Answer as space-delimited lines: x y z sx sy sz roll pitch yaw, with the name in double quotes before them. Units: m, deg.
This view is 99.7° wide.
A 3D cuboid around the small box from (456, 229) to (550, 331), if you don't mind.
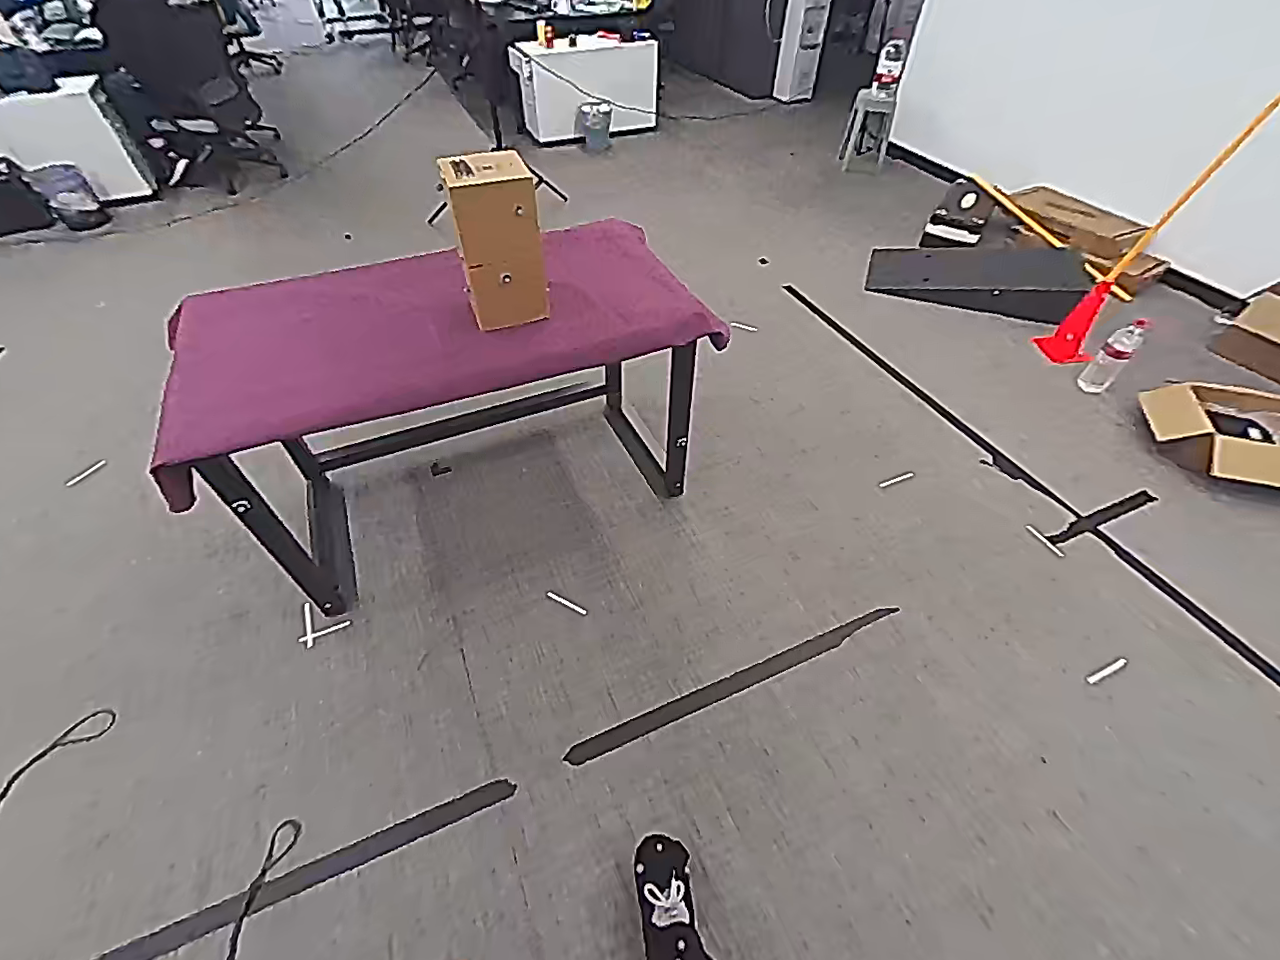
"small box" -0.332 -0.487 1.324 0.179 0.176 0.168 -17 51 -15
